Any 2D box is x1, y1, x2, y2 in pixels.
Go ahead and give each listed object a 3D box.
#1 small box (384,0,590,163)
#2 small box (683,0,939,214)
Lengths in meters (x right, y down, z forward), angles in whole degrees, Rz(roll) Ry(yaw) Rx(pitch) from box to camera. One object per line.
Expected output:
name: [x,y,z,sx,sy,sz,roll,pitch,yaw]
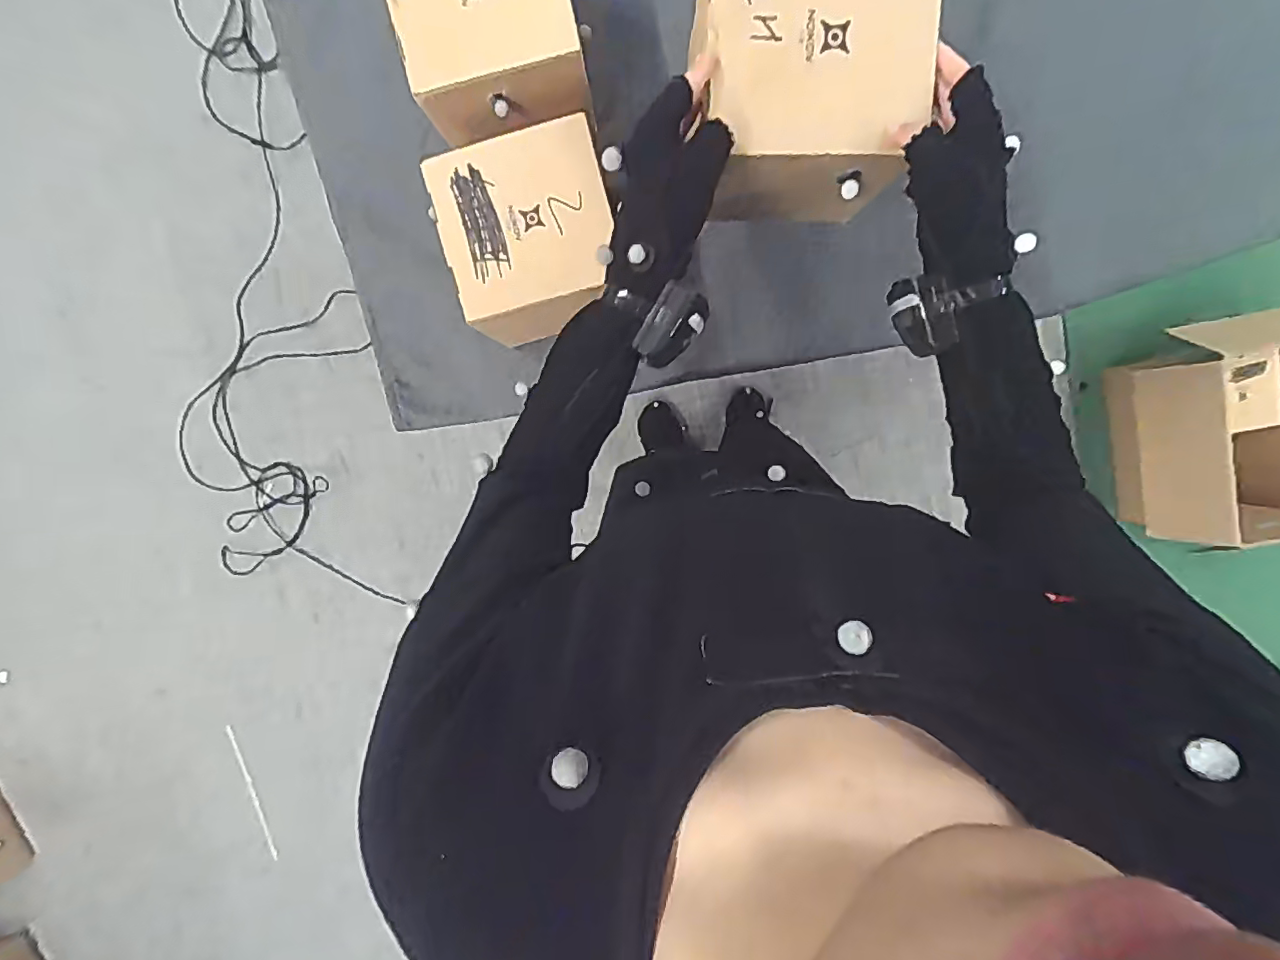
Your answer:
small box: [-0.158,-0.485,0.595,0.179,0.176,0.168,-12,97,4]
small box: [0.134,-0.349,0.480,0.179,0.176,0.168,0,99,1]
